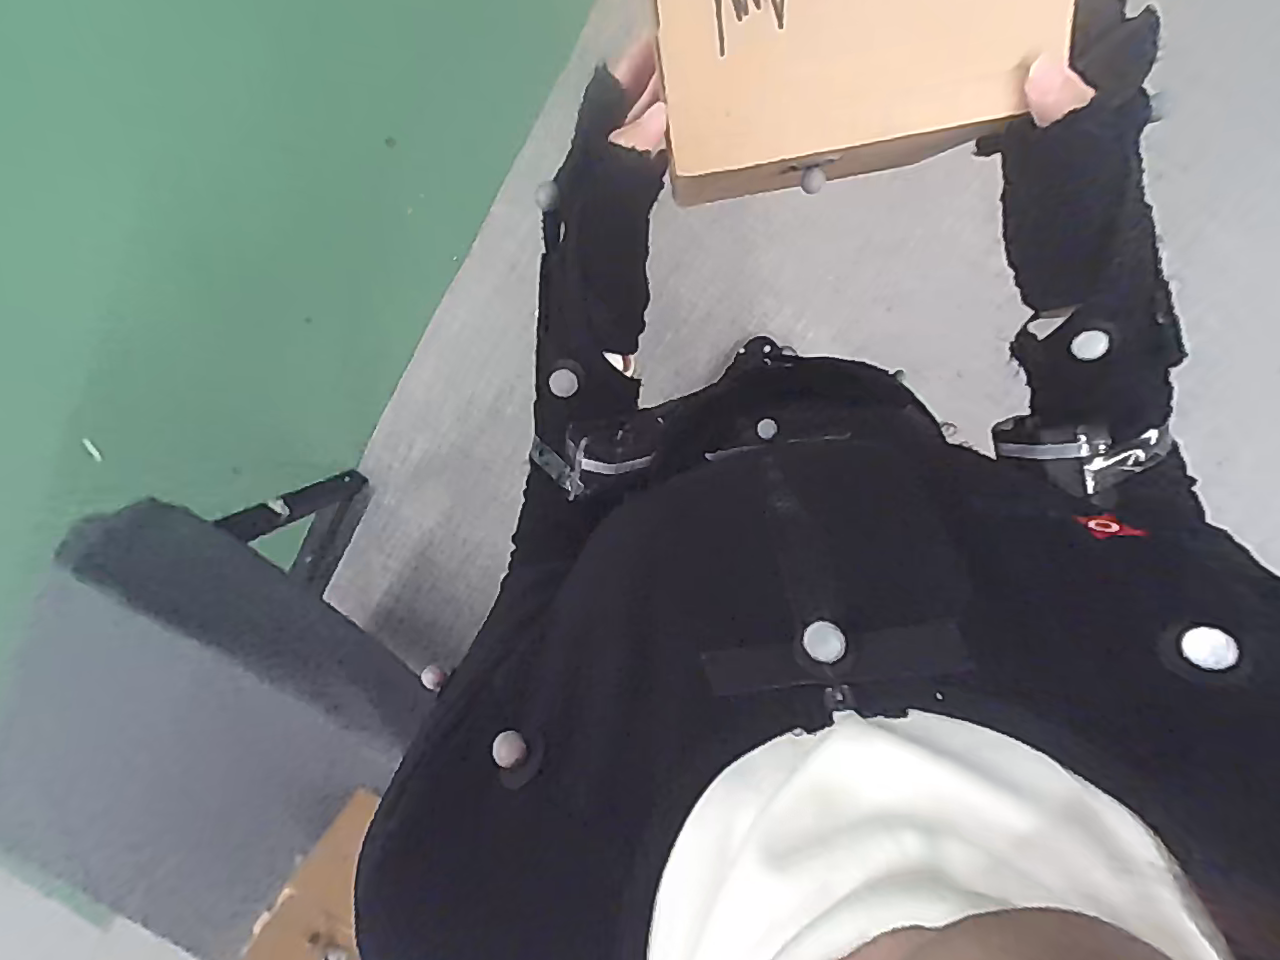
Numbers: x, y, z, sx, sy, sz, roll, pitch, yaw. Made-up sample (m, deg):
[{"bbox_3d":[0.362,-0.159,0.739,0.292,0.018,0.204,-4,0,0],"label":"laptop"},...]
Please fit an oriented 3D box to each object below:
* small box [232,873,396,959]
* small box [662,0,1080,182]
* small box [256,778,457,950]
[{"bbox_3d":[-0.436,0.644,0.664,0.168,0.176,0.179,33,105,-5],"label":"small box"},{"bbox_3d":[0.100,-0.274,0.294,0.179,0.176,0.168,-6,113,7],"label":"small box"},{"bbox_3d":[-0.415,0.594,0.817,0.179,0.176,0.168,35,106,-3],"label":"small box"}]
